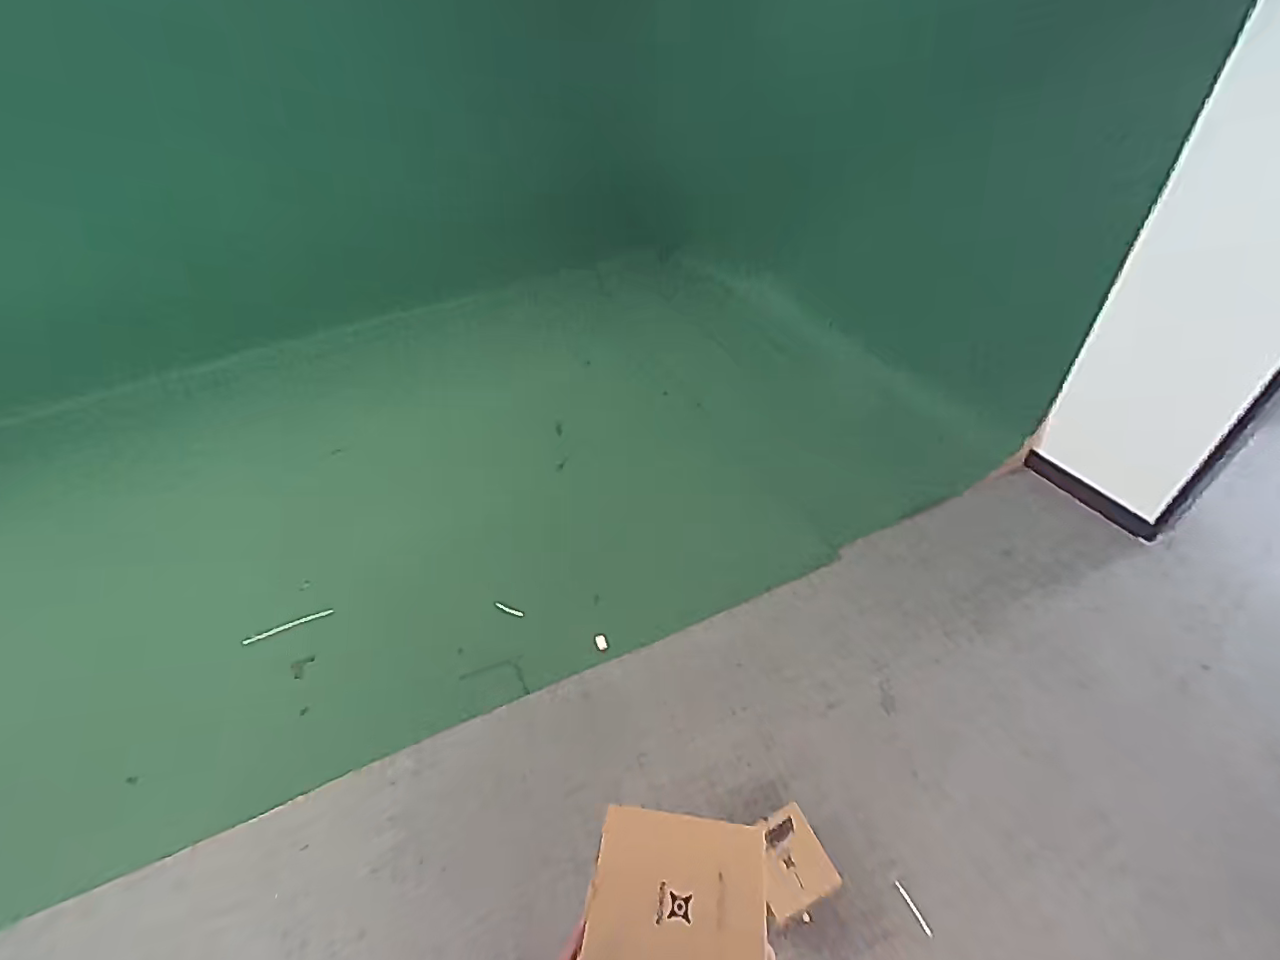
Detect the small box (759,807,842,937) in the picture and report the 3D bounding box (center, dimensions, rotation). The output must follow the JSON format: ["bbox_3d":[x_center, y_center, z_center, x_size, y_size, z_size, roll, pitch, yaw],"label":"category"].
[{"bbox_3d":[0.330,0.901,1.242,0.168,0.176,0.179,-21,45,-13],"label":"small box"}]

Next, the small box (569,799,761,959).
[{"bbox_3d":[0.032,0.474,0.575,0.179,0.176,0.168,5,38,8],"label":"small box"}]
